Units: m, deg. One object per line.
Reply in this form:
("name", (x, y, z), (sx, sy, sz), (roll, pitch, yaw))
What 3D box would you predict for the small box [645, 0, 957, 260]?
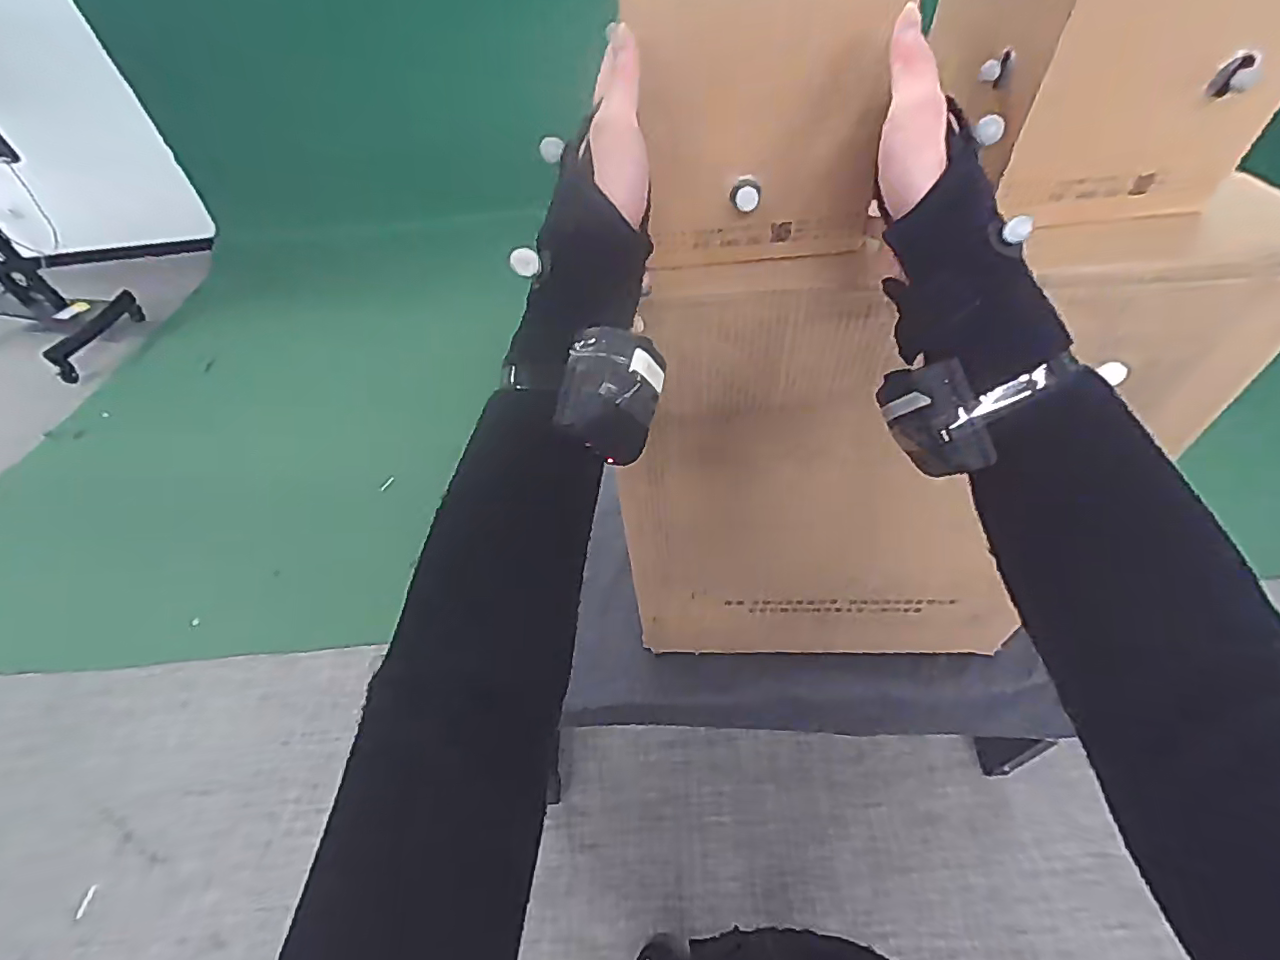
("small box", (0.092, -0.278, 0.385), (0.168, 0.176, 0.179), (-1, 52, 6))
